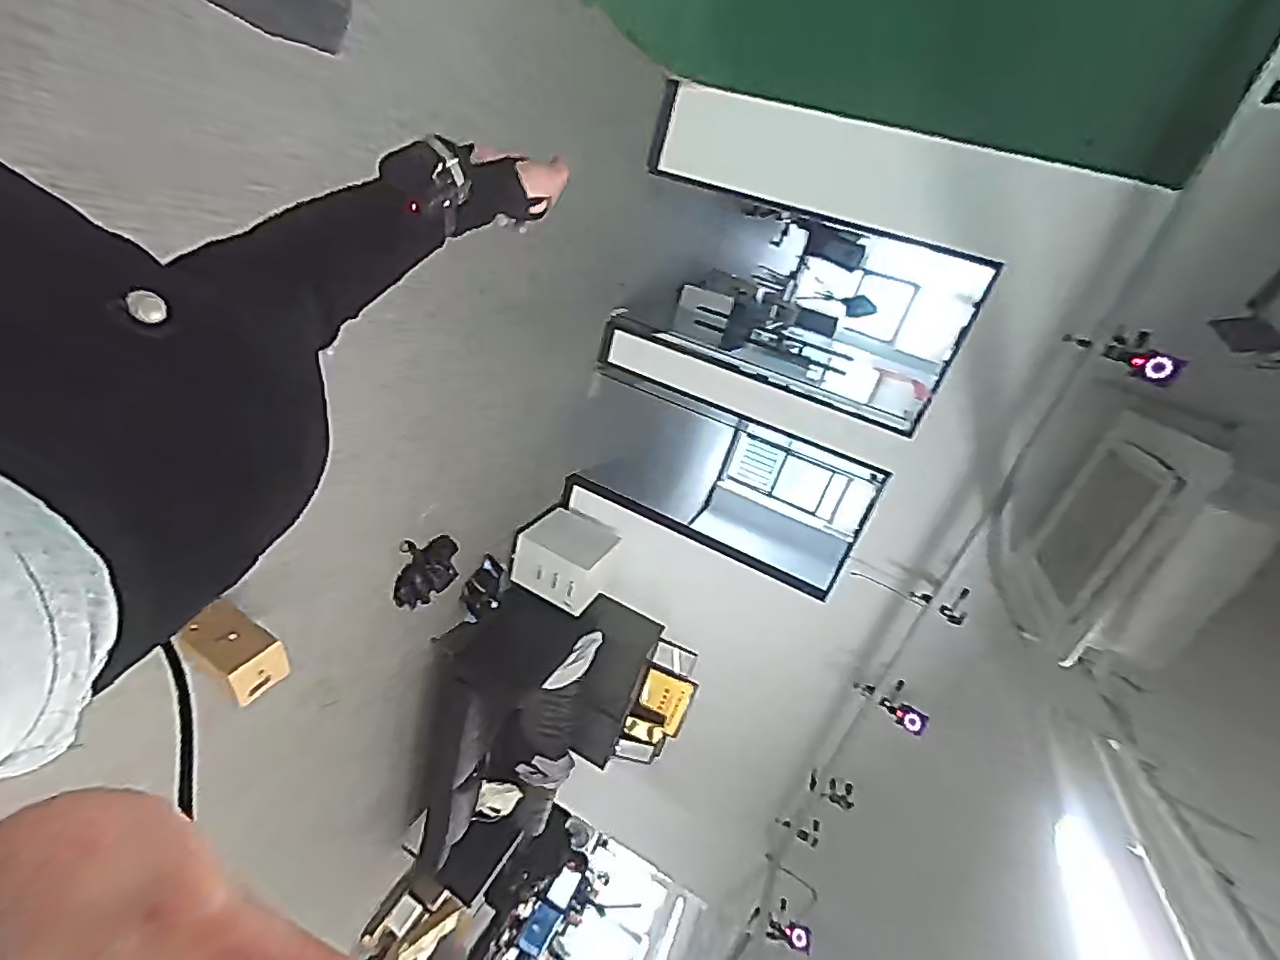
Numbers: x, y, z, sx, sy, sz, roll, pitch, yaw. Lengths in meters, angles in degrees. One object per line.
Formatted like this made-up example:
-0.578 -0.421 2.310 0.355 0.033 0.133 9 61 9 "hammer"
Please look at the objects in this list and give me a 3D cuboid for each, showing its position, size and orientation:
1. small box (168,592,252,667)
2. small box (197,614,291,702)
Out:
-1.416 0.499 1.800 0.168 0.176 0.179 -44 156 -49 "small box"
-1.276 0.568 1.747 0.168 0.176 0.179 -44 153 -50 "small box"
